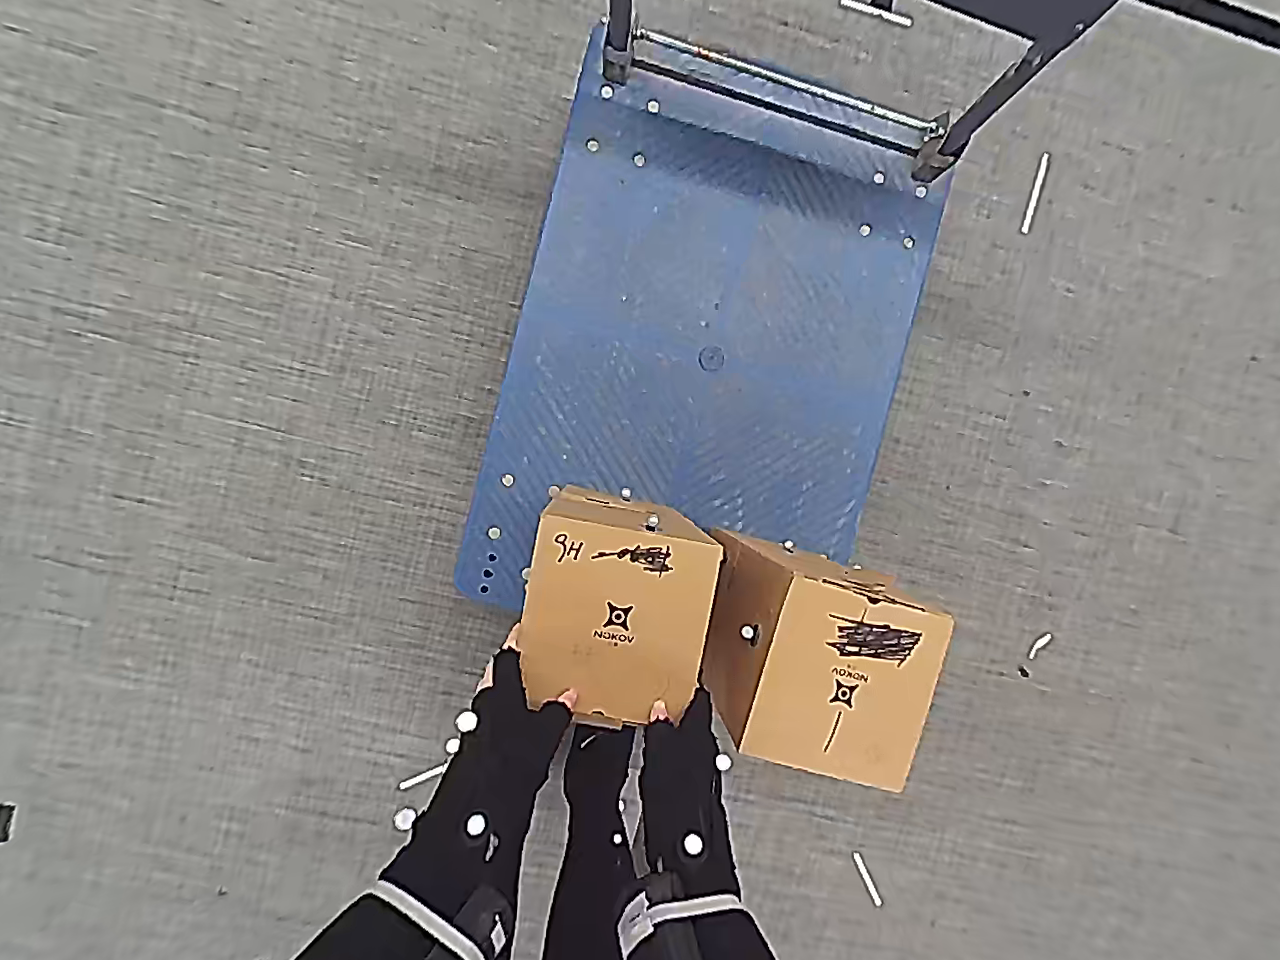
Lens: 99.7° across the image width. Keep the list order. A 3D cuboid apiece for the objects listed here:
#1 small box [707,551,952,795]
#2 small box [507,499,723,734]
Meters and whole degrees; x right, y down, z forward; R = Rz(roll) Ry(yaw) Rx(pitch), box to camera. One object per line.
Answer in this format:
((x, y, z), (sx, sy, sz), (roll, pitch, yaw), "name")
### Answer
((0.184, 0.187, 0.578), (0.168, 0.176, 0.179), (18, 91, -6), "small box")
((-0.027, 0.126, 0.560), (0.168, 0.176, 0.179), (12, 93, -5), "small box")
